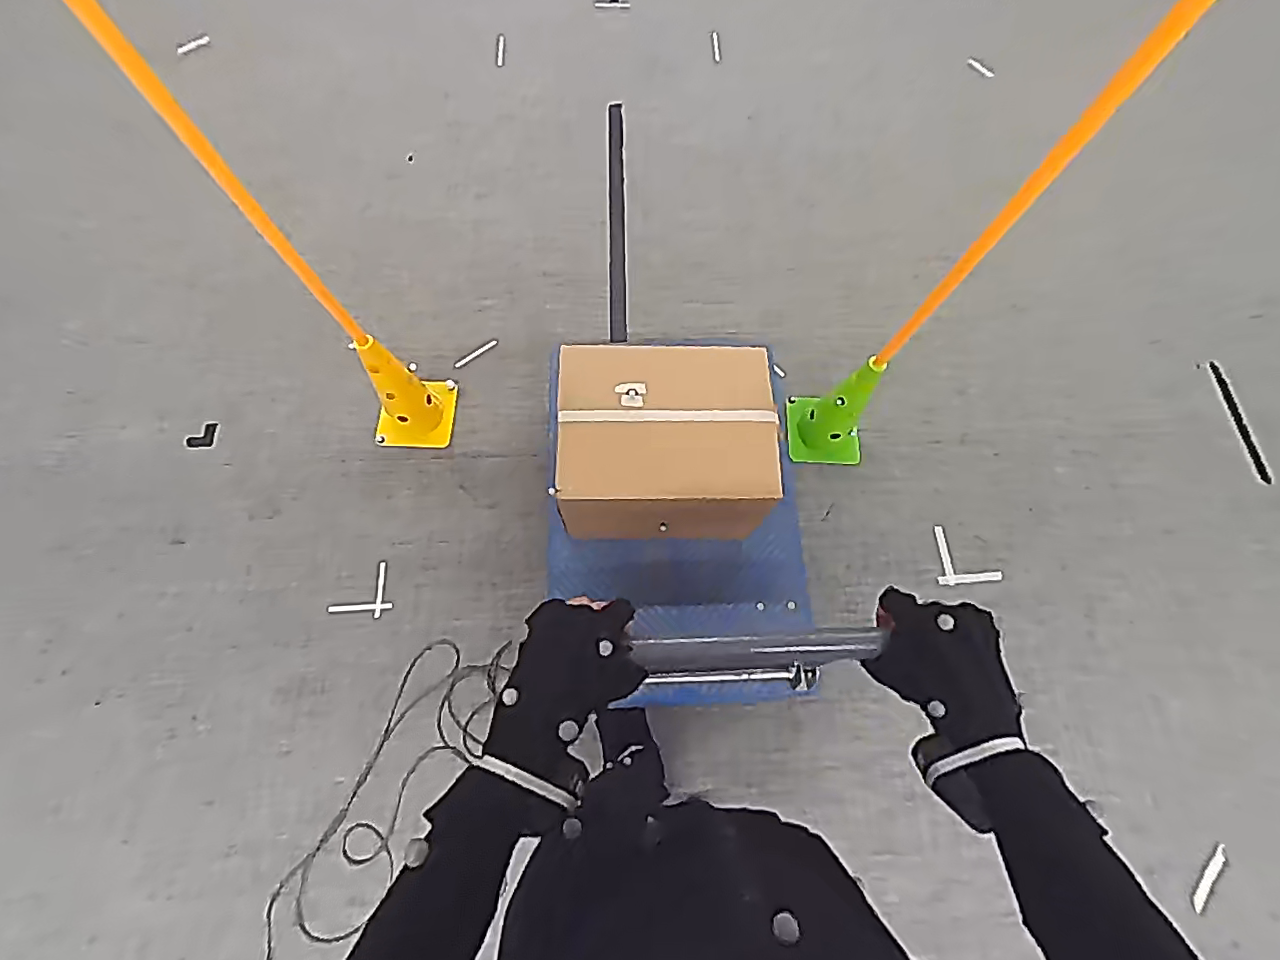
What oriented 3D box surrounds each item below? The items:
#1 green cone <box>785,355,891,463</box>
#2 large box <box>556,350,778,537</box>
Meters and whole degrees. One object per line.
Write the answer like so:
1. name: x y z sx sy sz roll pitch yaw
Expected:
1. green cone: 0.525 -0.199 1.372 0.202 0.368 0.200 3 71 -3
2. large box: 0.043 -0.060 1.149 0.408 0.320 0.320 0 70 -2
